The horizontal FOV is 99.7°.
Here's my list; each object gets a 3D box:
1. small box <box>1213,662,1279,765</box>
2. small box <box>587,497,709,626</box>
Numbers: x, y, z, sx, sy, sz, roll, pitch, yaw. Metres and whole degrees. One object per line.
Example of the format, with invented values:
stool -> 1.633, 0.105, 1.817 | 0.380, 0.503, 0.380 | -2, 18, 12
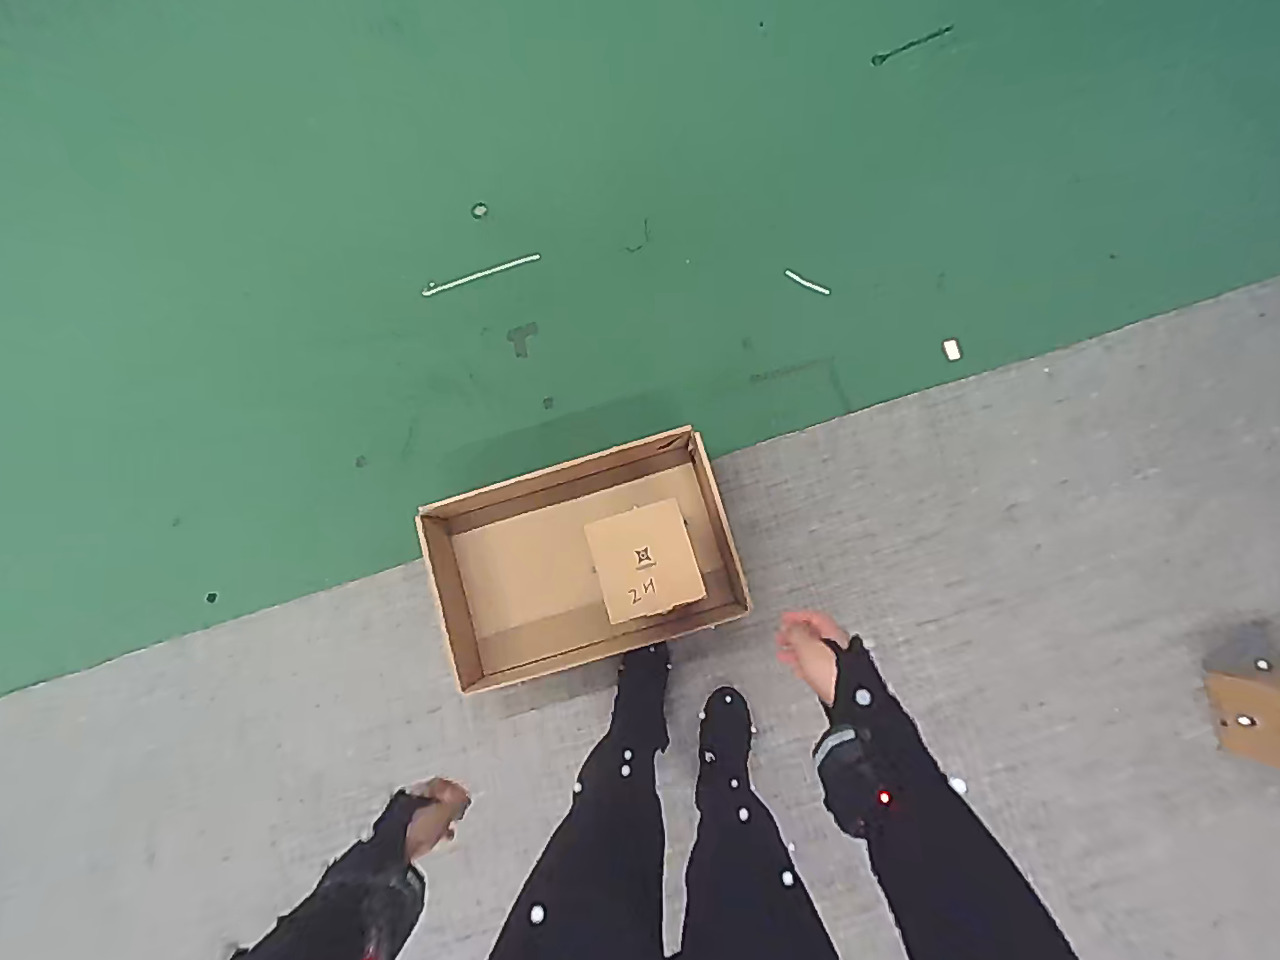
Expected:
small box -> 1.278, 0.455, 1.044 | 0.179, 0.176, 0.168 | -7, 82, 4
small box -> 0.016, 0.143, 0.956 | 0.168, 0.176, 0.179 | -17, 82, 3
